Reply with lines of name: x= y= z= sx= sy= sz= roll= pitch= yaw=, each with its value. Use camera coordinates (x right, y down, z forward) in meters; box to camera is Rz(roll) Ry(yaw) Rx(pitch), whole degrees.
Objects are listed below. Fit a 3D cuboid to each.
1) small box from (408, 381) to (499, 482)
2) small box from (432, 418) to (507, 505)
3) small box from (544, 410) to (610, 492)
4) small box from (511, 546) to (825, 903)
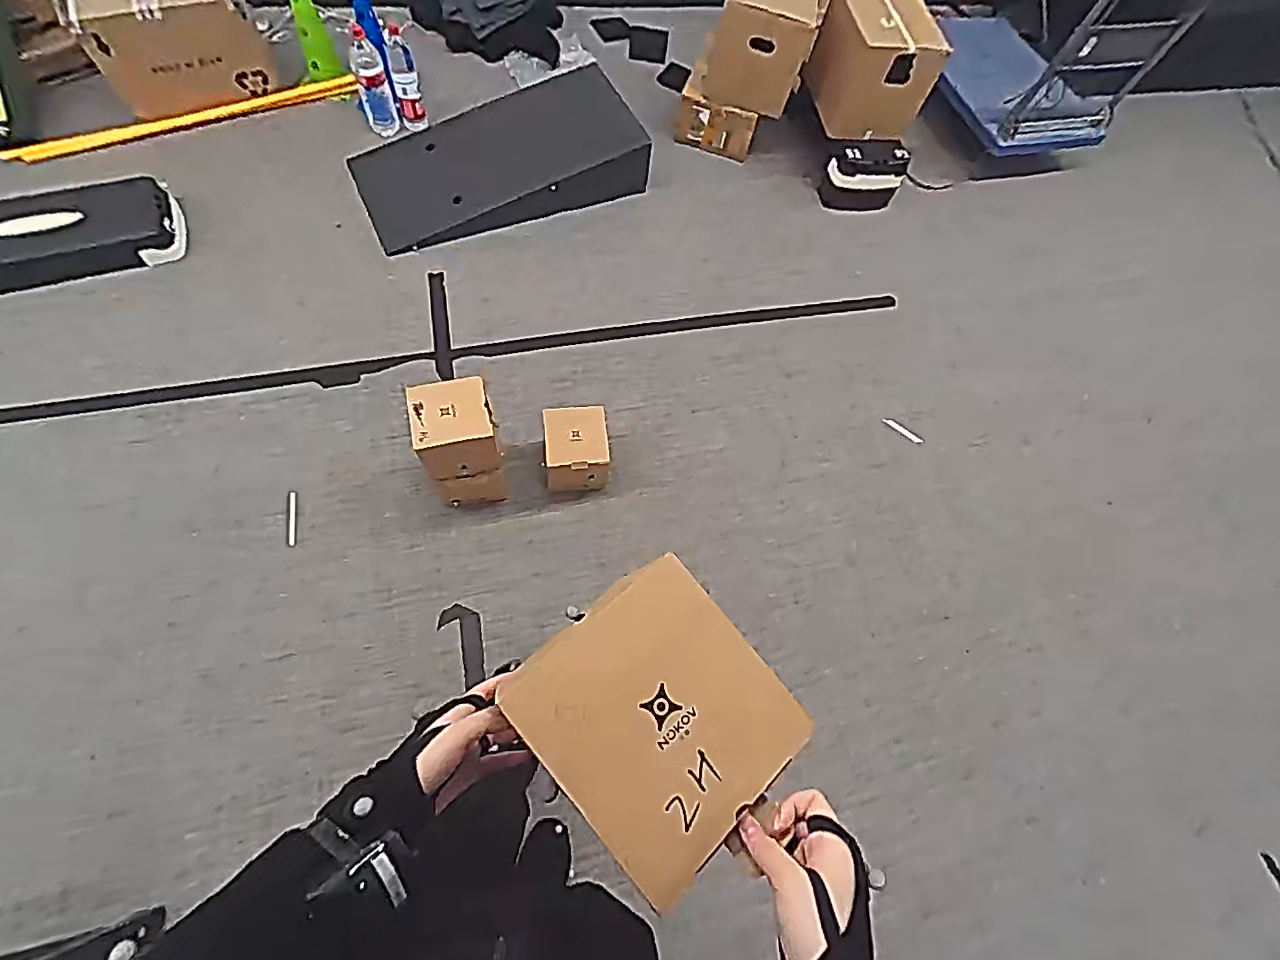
small box: x=-0.436 y=-0.112 z=1.289 sx=0.179 sy=0.176 sz=0.168 roll=-11 pitch=67 yaw=-13
small box: x=-0.450 y=-0.042 z=1.437 sx=0.168 sy=0.176 sz=0.179 roll=-7 pitch=66 yaw=-11
small box: x=-0.175 y=-0.074 z=1.491 sx=0.168 sy=0.176 sz=0.179 roll=-4 pitch=65 yaw=-10
small box: x=0.006 y=0.184 z=0.452 sx=0.168 sy=0.176 sz=0.179 roll=-37 pitch=85 yaw=-22
